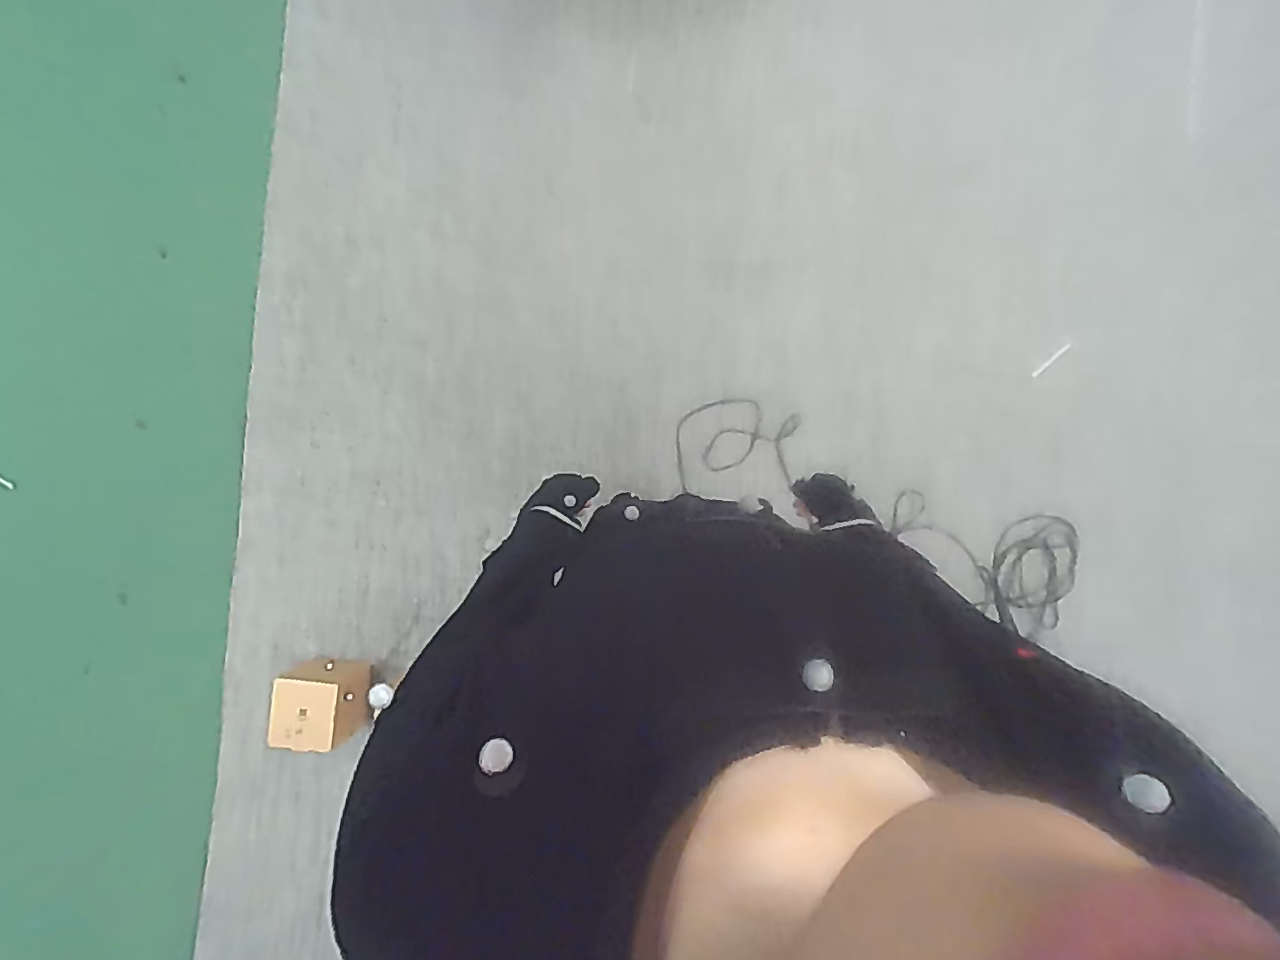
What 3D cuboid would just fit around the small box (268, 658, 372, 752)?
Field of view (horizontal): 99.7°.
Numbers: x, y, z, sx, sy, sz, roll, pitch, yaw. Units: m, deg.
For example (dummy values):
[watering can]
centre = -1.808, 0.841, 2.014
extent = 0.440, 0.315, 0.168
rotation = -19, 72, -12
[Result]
[small box]
centre = -0.832, 0.583, 1.423
extent = 0.168, 0.176, 0.179
rotation = 6, 89, 3
